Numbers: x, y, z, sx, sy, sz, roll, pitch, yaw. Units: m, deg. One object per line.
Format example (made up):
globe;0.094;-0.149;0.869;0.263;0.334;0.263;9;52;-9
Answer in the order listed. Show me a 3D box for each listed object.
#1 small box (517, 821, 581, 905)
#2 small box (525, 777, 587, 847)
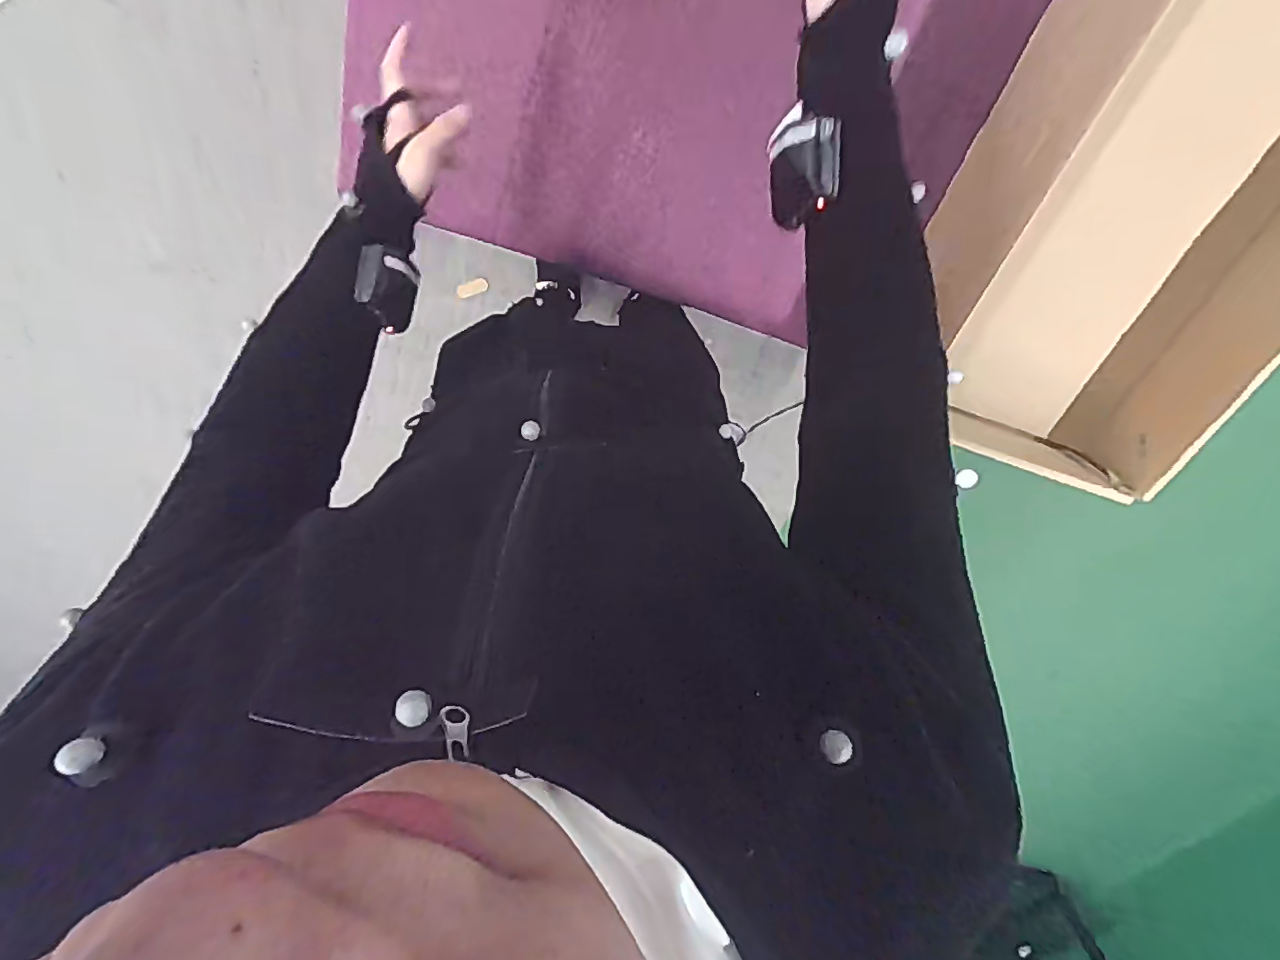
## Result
small box;-0.300;1.295;1.833;0.168;0.176;0.179;-12;118;3
small box;-0.302;1.223;1.979;0.179;0.176;0.168;-13;119;5
